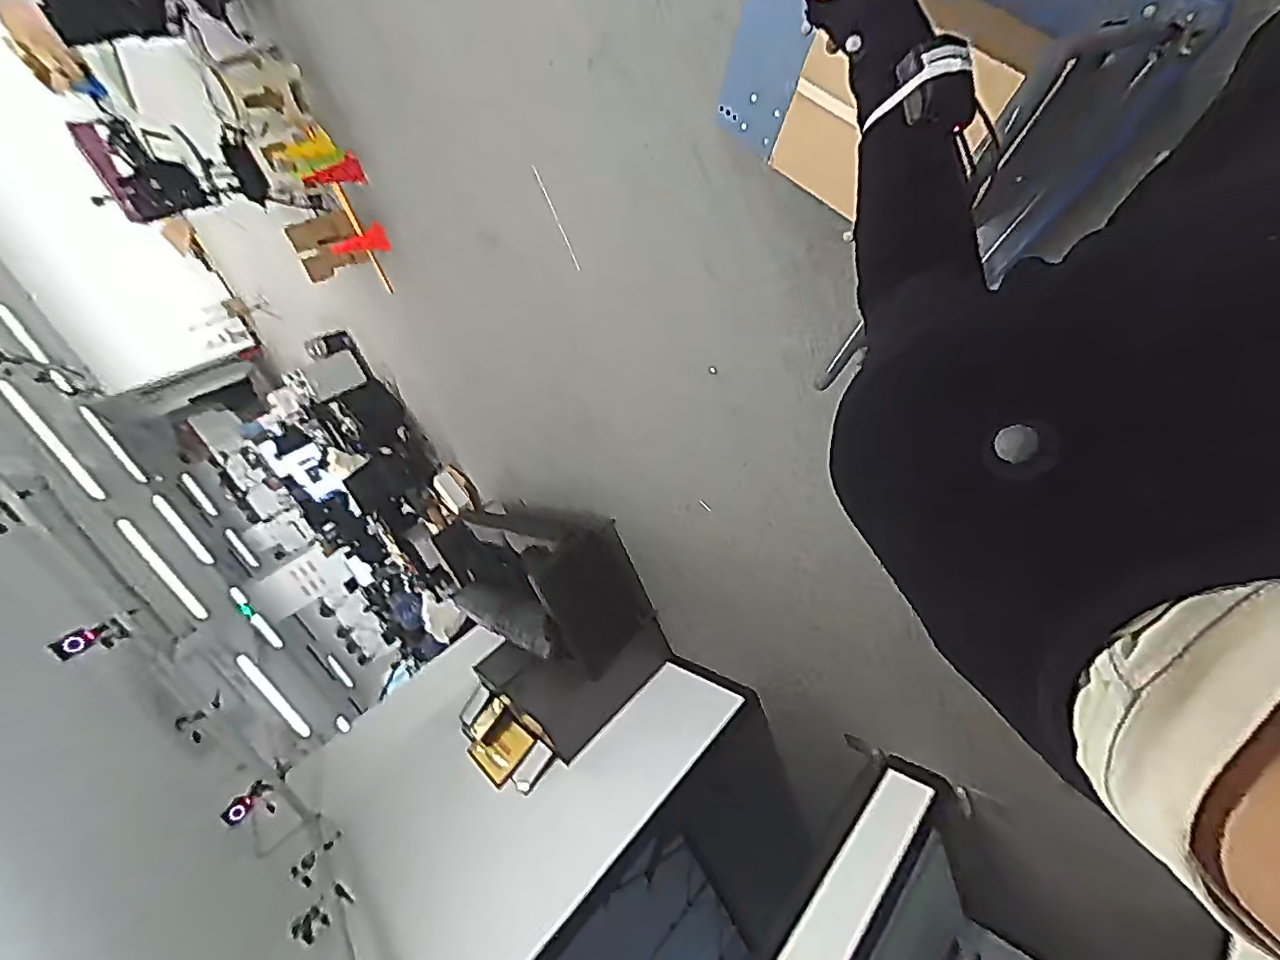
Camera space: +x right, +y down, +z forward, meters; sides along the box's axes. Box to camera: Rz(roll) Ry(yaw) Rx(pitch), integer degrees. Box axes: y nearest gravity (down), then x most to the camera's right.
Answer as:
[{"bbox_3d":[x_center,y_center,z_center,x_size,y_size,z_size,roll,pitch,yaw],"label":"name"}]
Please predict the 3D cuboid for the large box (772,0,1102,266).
[{"bbox_3d":[0.550,-0.700,1.053,0.408,0.320,0.320,45,148,16],"label":"large box"}]
